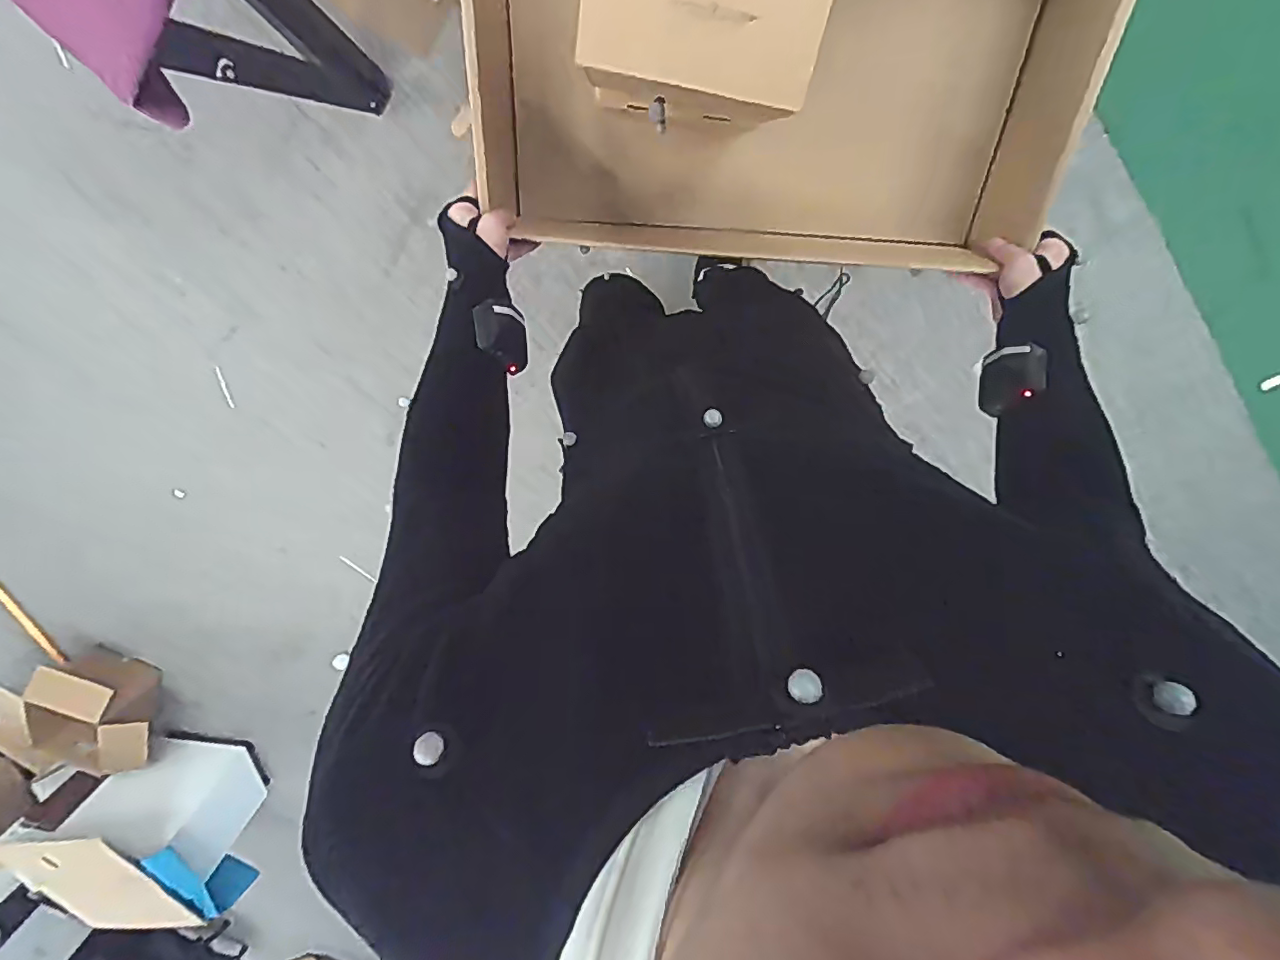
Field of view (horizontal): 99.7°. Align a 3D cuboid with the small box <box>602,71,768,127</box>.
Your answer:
[{"bbox_3d":[0.053,-0.473,0.545,0.168,0.176,0.179,6,121,-4],"label":"small box"}]

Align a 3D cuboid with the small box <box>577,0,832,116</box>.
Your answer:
[{"bbox_3d":[0.053,-0.395,0.401,0.168,0.176,0.179,10,120,-5],"label":"small box"}]
